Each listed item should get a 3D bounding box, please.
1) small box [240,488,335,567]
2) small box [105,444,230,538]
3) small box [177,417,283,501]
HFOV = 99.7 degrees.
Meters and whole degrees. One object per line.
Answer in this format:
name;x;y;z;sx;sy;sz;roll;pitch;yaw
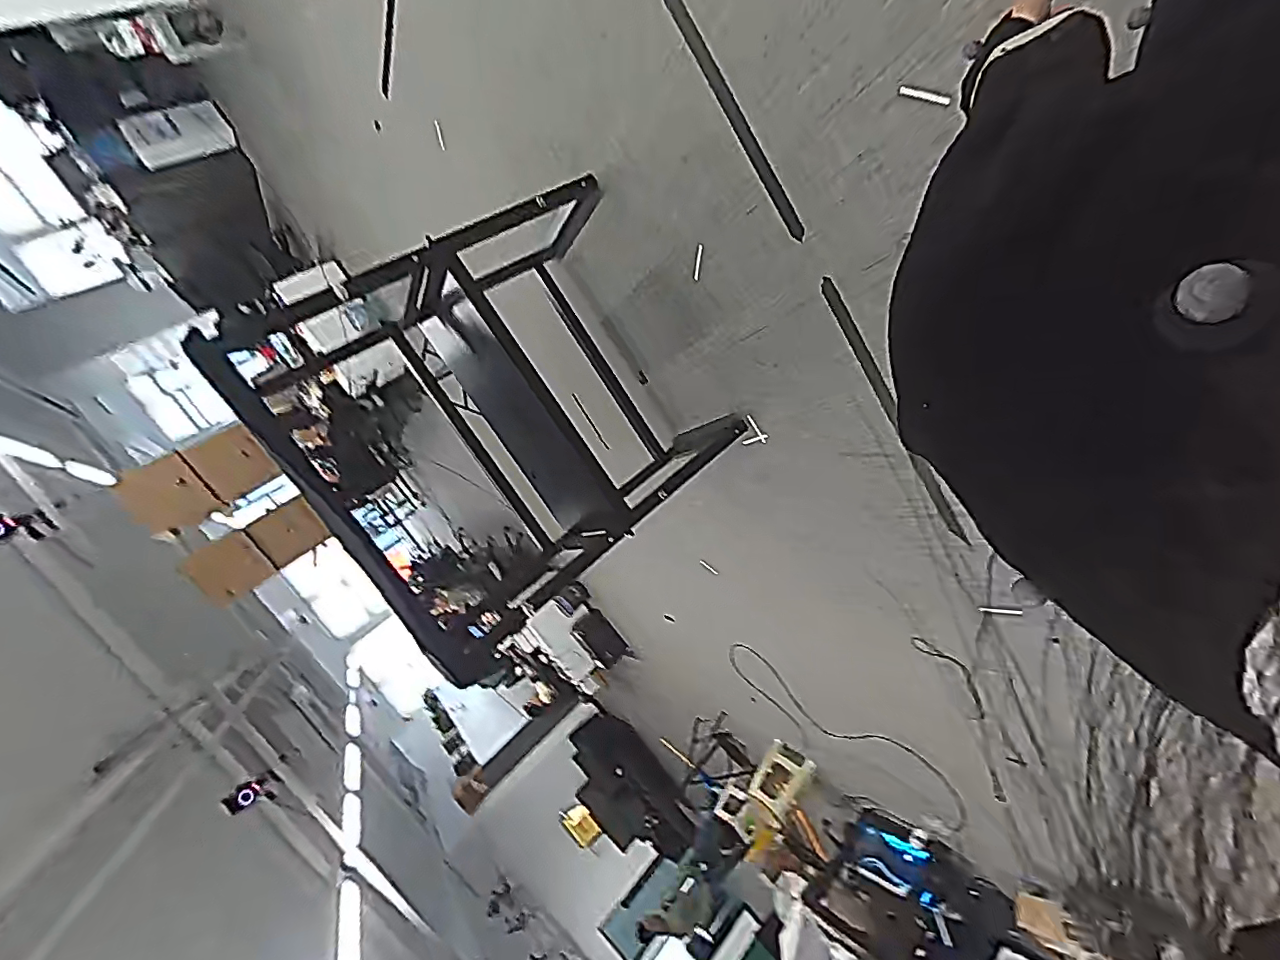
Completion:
small box;-1.020;0.136;1.581;0.168;0.176;0.179;58;153;-13
small box;-1.259;0.034;1.448;0.179;0.176;0.168;55;154;-7
small box;-1.148;-0.059;1.533;0.168;0.176;0.179;56;154;-12
